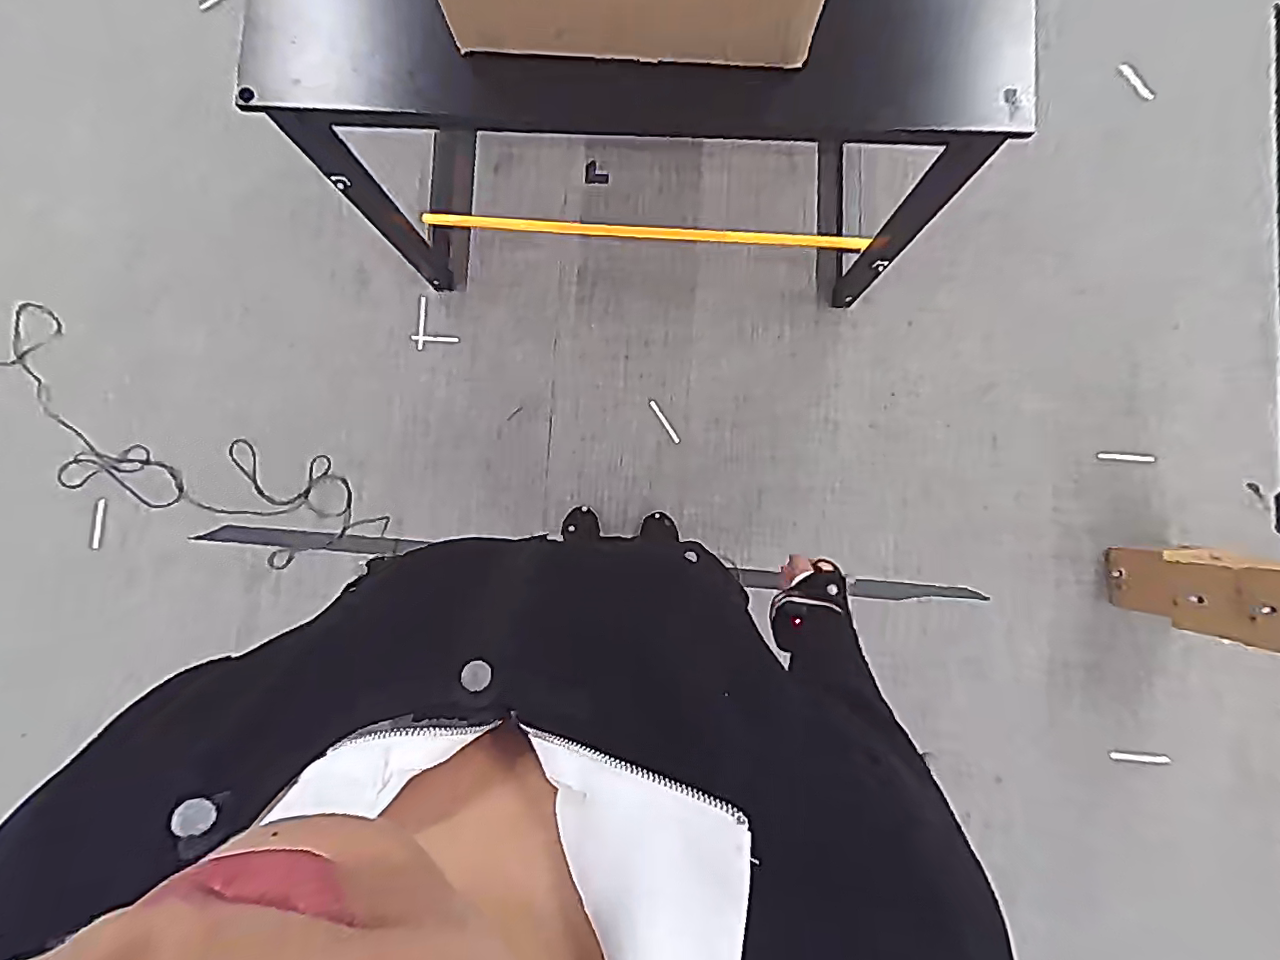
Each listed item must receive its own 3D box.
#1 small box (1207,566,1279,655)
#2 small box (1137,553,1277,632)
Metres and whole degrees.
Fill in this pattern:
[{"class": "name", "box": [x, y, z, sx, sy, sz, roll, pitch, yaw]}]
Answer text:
[{"class": "small box", "box": [1.369, 0.276, 1.149, 0.179, 0.176, 0.168, -4, 86, 1]}, {"class": "small box", "box": [1.374, 0.267, 1.313, 0.179, 0.176, 0.168, -3, 86, 2]}]
